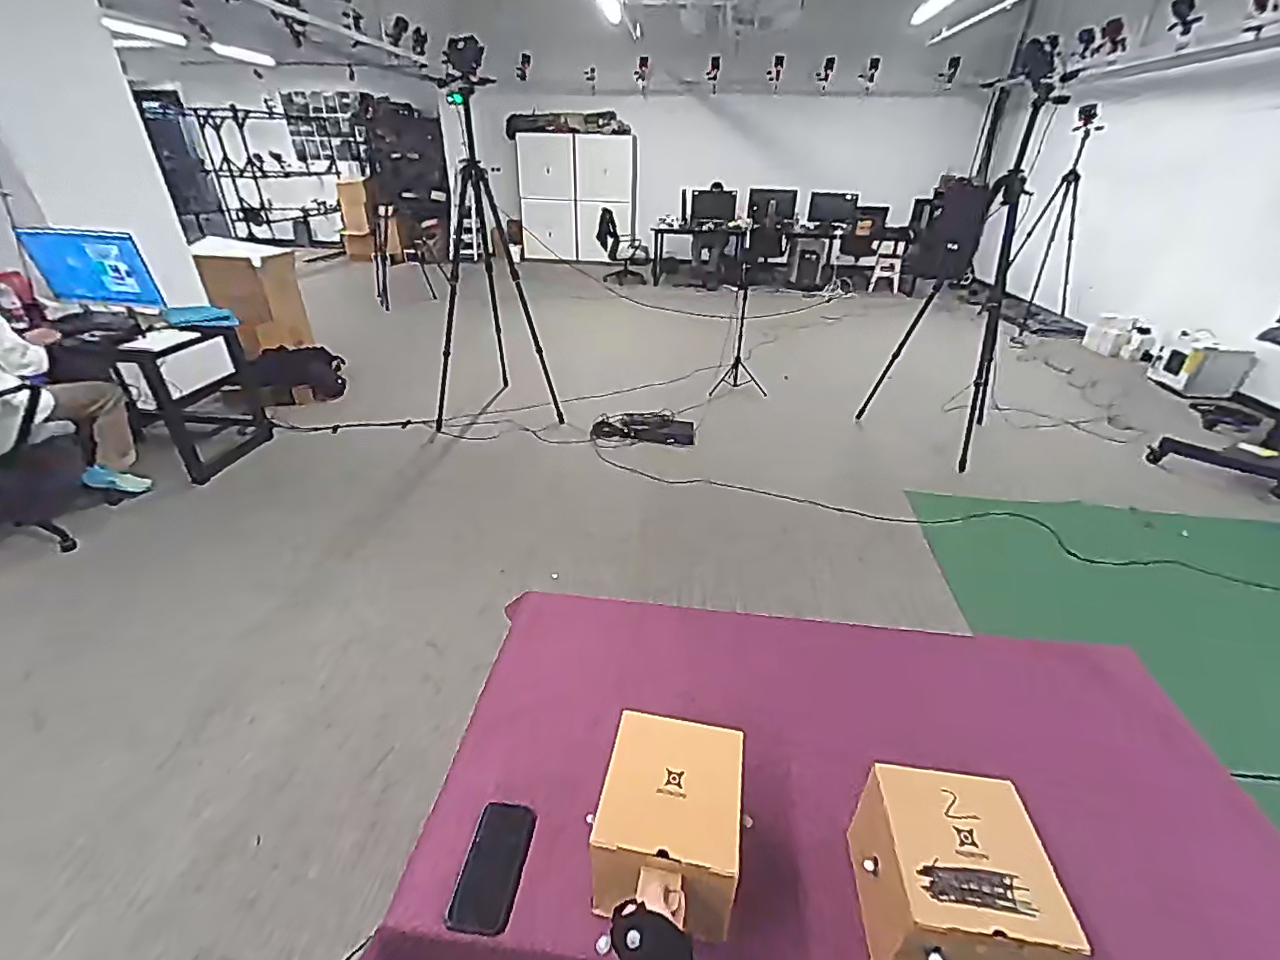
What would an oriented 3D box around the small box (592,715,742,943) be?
[{"bbox_3d":[0.037,0.446,0.703,0.168,0.176,0.179,7,31,9],"label":"small box"}]
